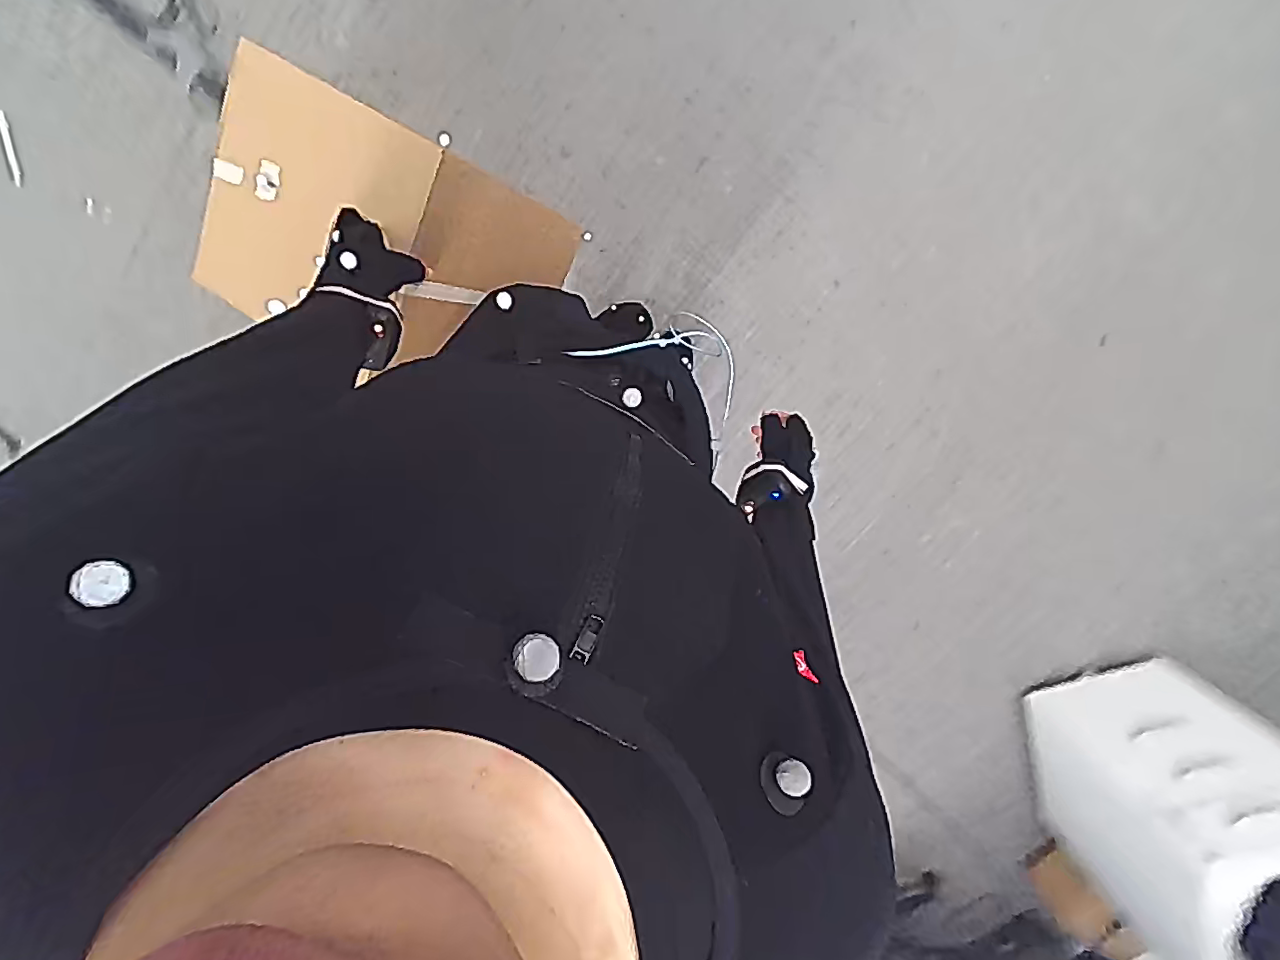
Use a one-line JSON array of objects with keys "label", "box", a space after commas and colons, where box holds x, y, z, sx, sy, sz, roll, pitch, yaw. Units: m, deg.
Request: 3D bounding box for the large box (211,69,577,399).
[{"label": "large box", "box": [-0.366, -0.357, 0.871, 0.320, 0.408, 0.320, 32, 111, 8]}]
